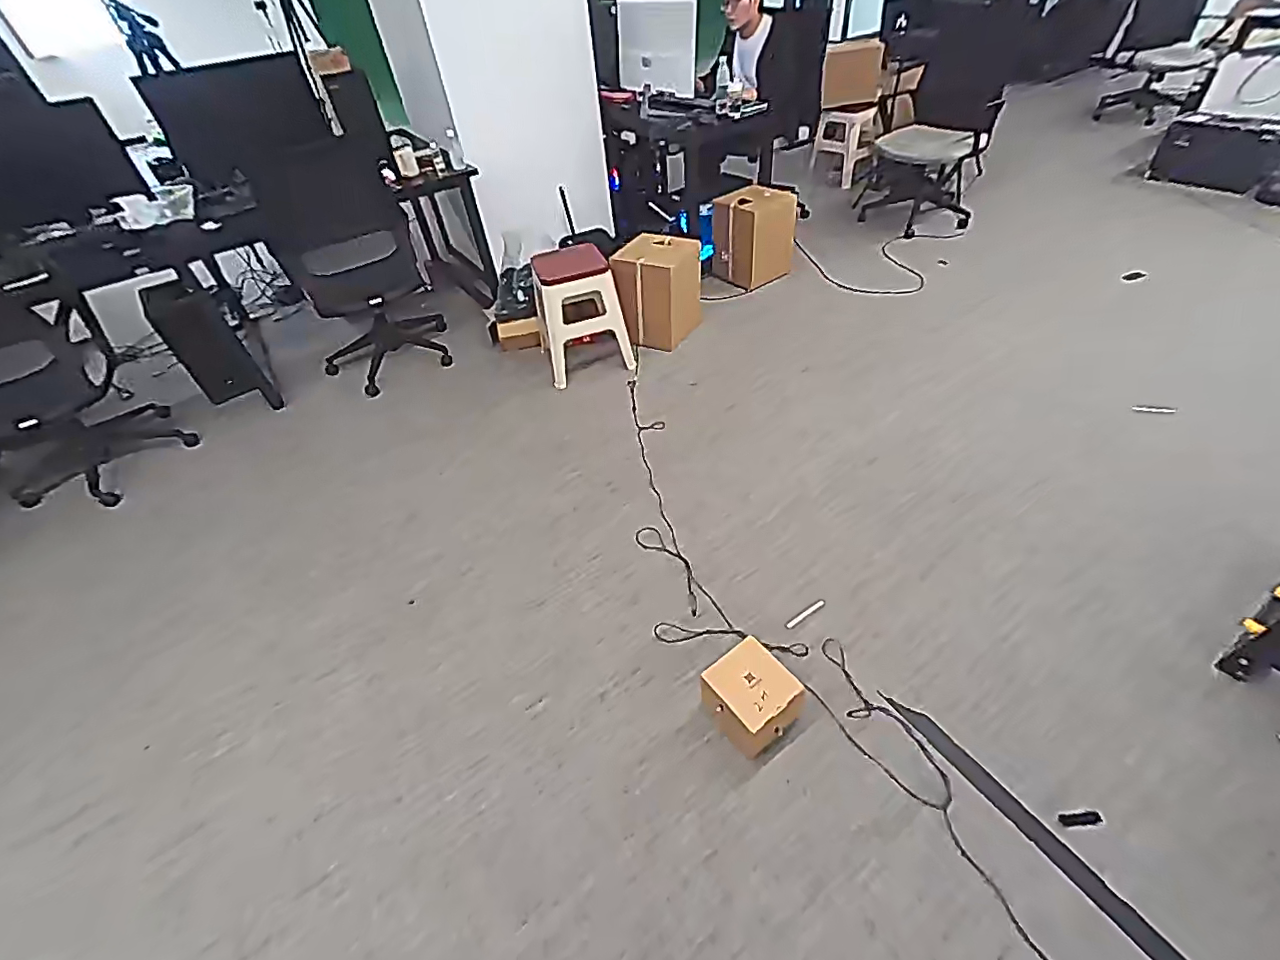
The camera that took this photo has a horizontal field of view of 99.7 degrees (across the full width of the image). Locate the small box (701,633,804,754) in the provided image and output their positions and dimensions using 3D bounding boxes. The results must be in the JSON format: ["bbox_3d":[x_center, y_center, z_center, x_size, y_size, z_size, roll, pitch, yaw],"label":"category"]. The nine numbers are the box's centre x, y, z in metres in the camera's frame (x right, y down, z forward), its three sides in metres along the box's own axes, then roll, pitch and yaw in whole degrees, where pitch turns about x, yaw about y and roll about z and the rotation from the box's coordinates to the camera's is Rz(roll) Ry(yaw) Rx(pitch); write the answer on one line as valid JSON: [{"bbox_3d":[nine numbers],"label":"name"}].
[{"bbox_3d":[0.261,0.510,1.289,0.168,0.176,0.179,-31,50,-21],"label":"small box"}]
